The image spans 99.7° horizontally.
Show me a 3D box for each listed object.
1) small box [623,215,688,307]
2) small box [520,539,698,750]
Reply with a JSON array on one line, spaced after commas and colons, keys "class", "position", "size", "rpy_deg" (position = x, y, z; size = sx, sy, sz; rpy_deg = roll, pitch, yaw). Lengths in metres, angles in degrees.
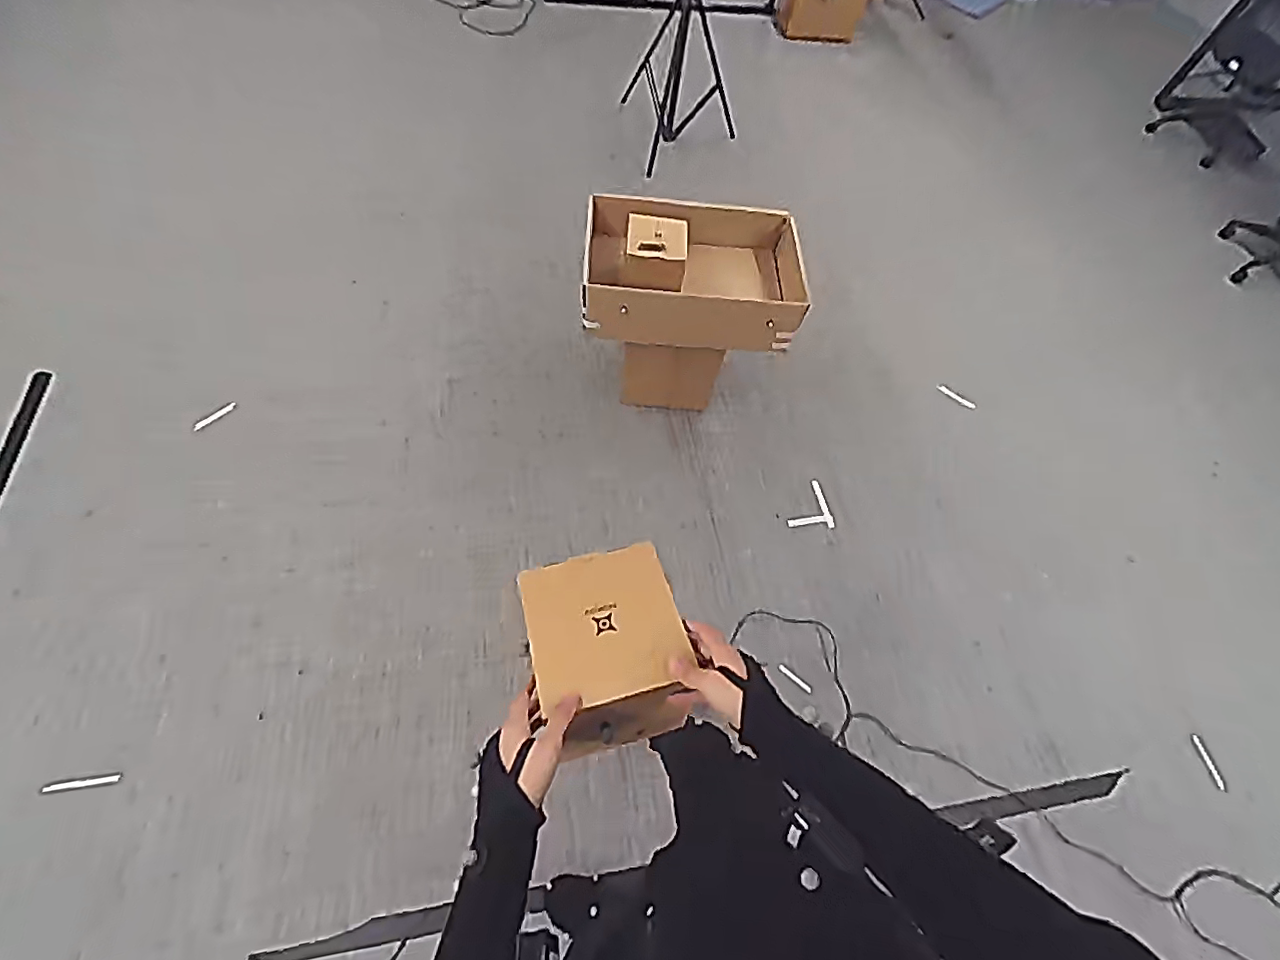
[{"class": "small box", "position": [0.042, -0.617, 1.539], "size": [0.168, 0.176, 0.179], "rpy_deg": [5, 60, -4]}, {"class": "small box", "position": [-0.041, 0.202, 0.648], "size": [0.168, 0.176, 0.179], "rpy_deg": [-11, 49, -12]}]
